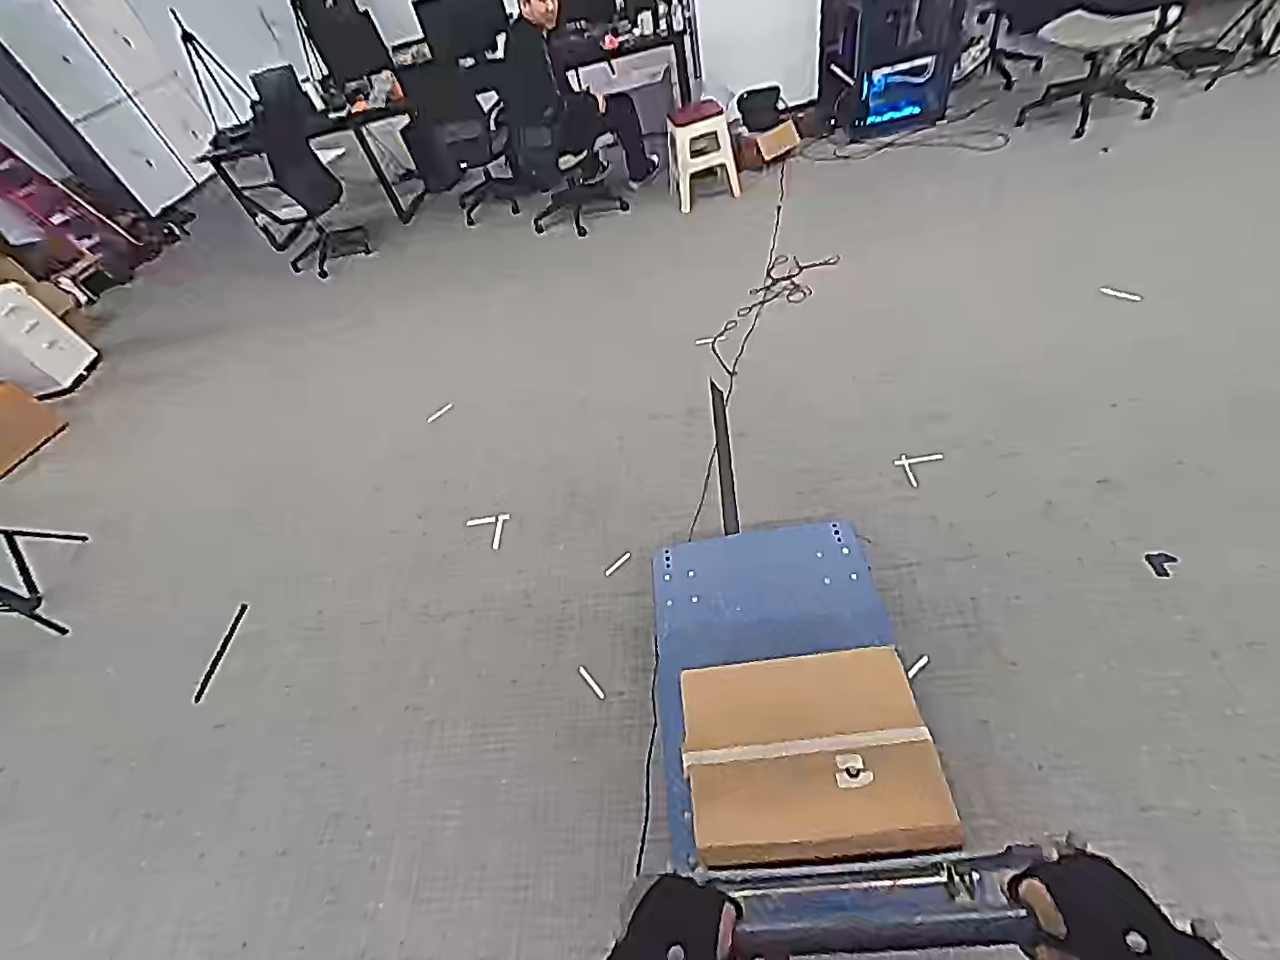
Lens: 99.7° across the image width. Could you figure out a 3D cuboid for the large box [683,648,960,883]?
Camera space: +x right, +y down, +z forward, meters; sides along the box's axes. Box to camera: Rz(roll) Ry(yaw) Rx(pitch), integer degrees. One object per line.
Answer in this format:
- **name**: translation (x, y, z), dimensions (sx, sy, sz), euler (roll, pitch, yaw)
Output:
- **large box**: translation (0.314, 0.559, 1.047), dimensions (0.408, 0.320, 0.320), euler (-9, 49, 7)
